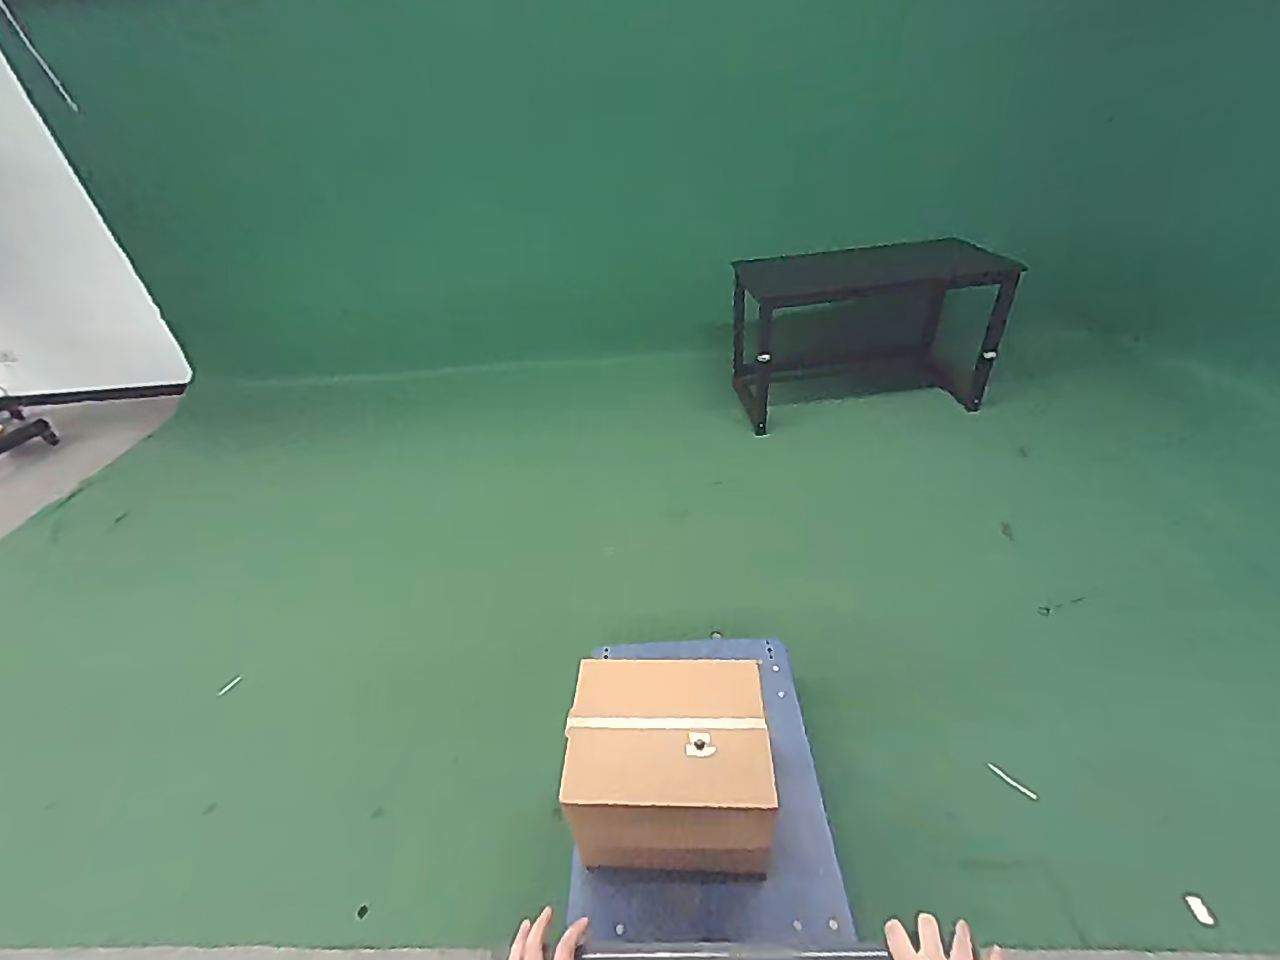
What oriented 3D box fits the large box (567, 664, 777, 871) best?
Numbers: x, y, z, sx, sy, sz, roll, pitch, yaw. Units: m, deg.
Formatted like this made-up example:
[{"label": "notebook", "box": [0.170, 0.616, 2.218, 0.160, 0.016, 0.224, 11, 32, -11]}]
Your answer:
[{"label": "large box", "box": [0.070, 0.637, 1.211, 0.408, 0.320, 0.320, -1, 36, 5]}]
